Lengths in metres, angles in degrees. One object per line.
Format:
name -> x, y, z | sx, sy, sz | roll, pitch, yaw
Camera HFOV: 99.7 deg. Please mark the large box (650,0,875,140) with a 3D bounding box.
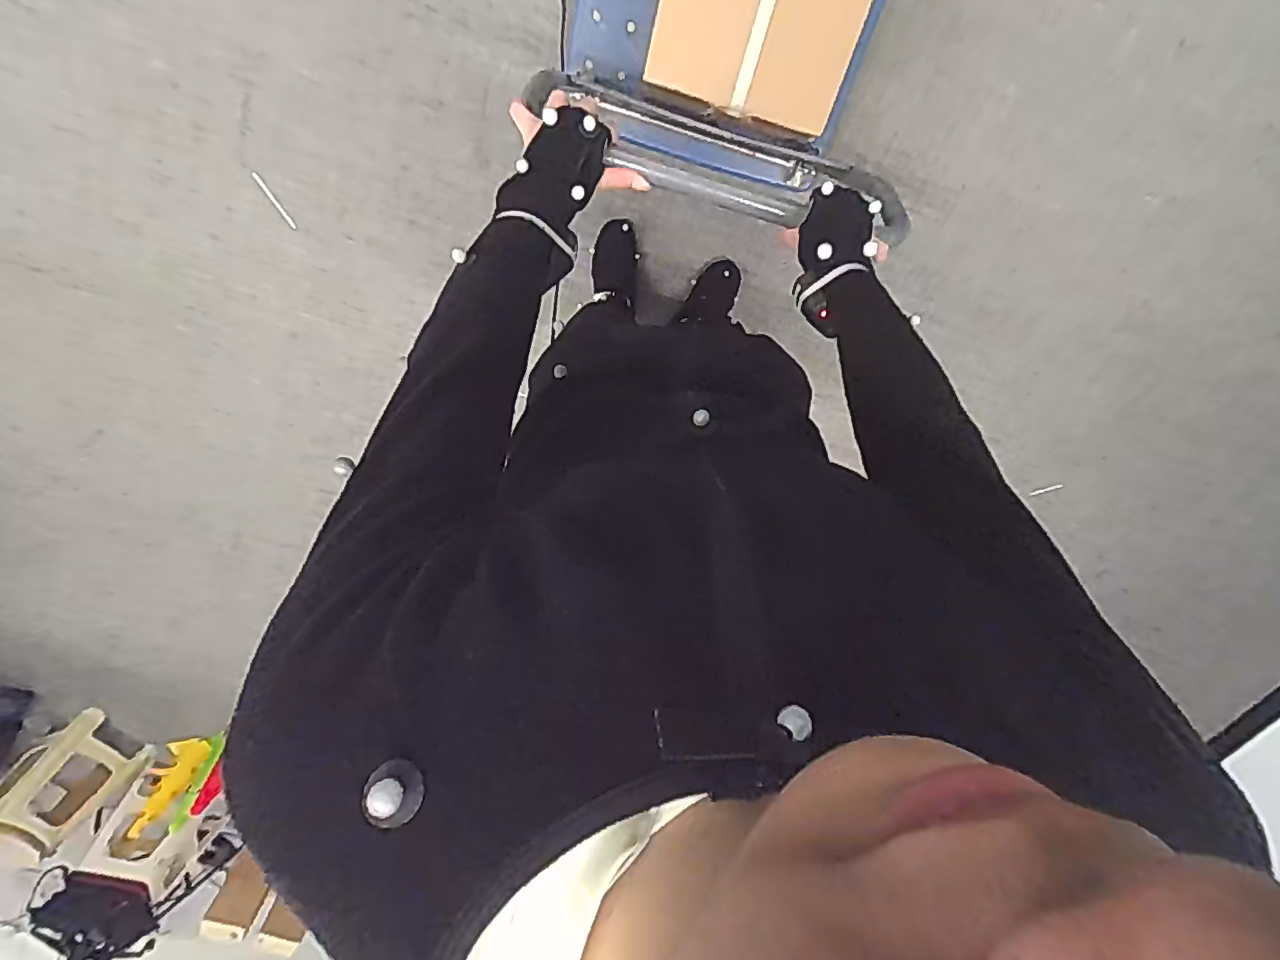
large box -> 0.212, -0.845, 0.910 | 0.320, 0.320, 0.408 | 13, 120, -7
